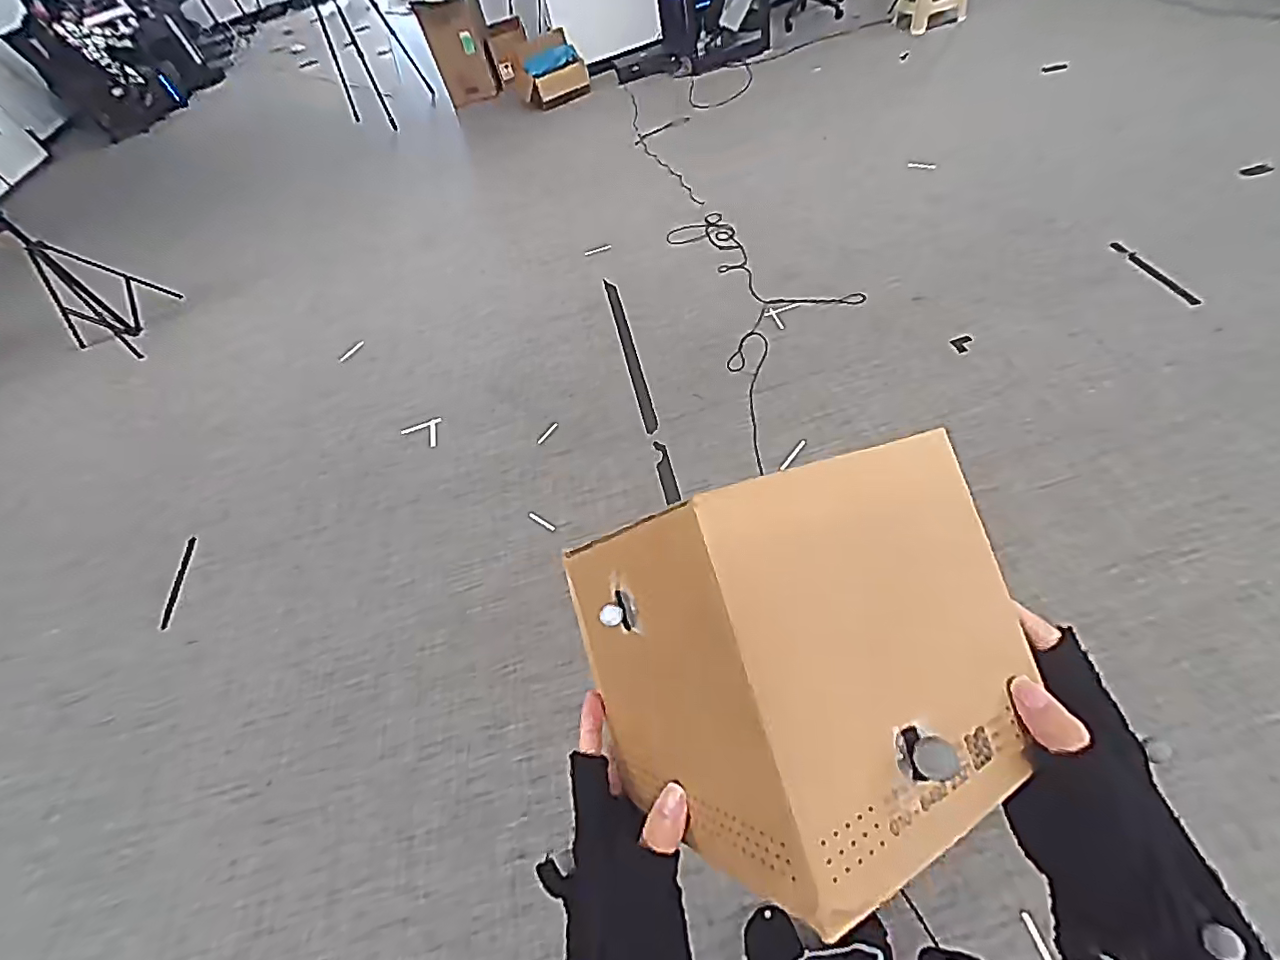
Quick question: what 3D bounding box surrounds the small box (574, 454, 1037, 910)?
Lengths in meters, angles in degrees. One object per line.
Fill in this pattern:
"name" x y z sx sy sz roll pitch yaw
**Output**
"small box" 0.080 0.101 0.323 0.168 0.179 0.176 -14 82 -27
